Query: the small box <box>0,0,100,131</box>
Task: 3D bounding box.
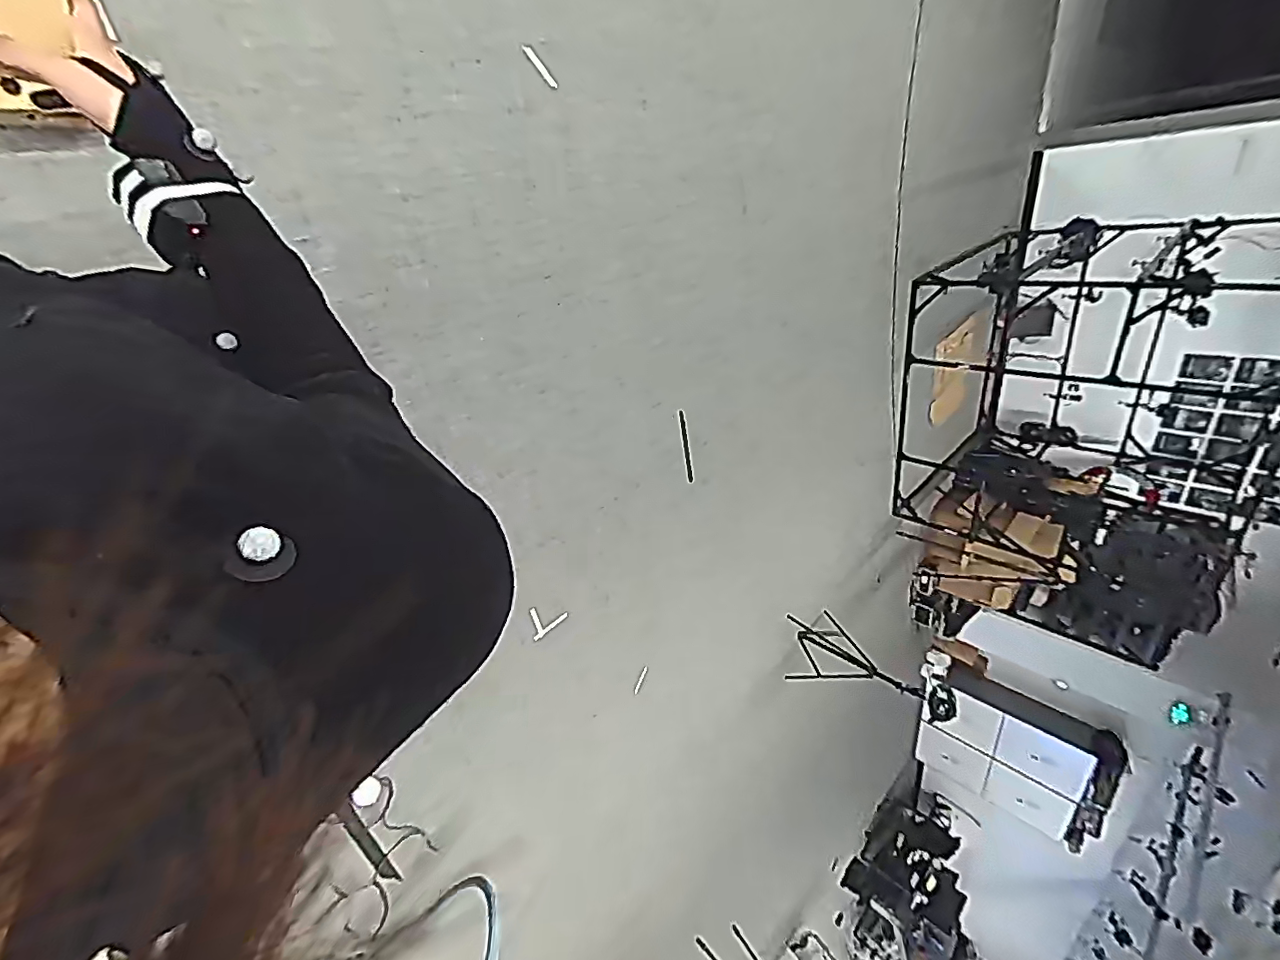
[{"bbox_3d":[-1.081,-0.716,0.933,0.168,0.176,0.179,-28,123,-36],"label":"small box"}]
